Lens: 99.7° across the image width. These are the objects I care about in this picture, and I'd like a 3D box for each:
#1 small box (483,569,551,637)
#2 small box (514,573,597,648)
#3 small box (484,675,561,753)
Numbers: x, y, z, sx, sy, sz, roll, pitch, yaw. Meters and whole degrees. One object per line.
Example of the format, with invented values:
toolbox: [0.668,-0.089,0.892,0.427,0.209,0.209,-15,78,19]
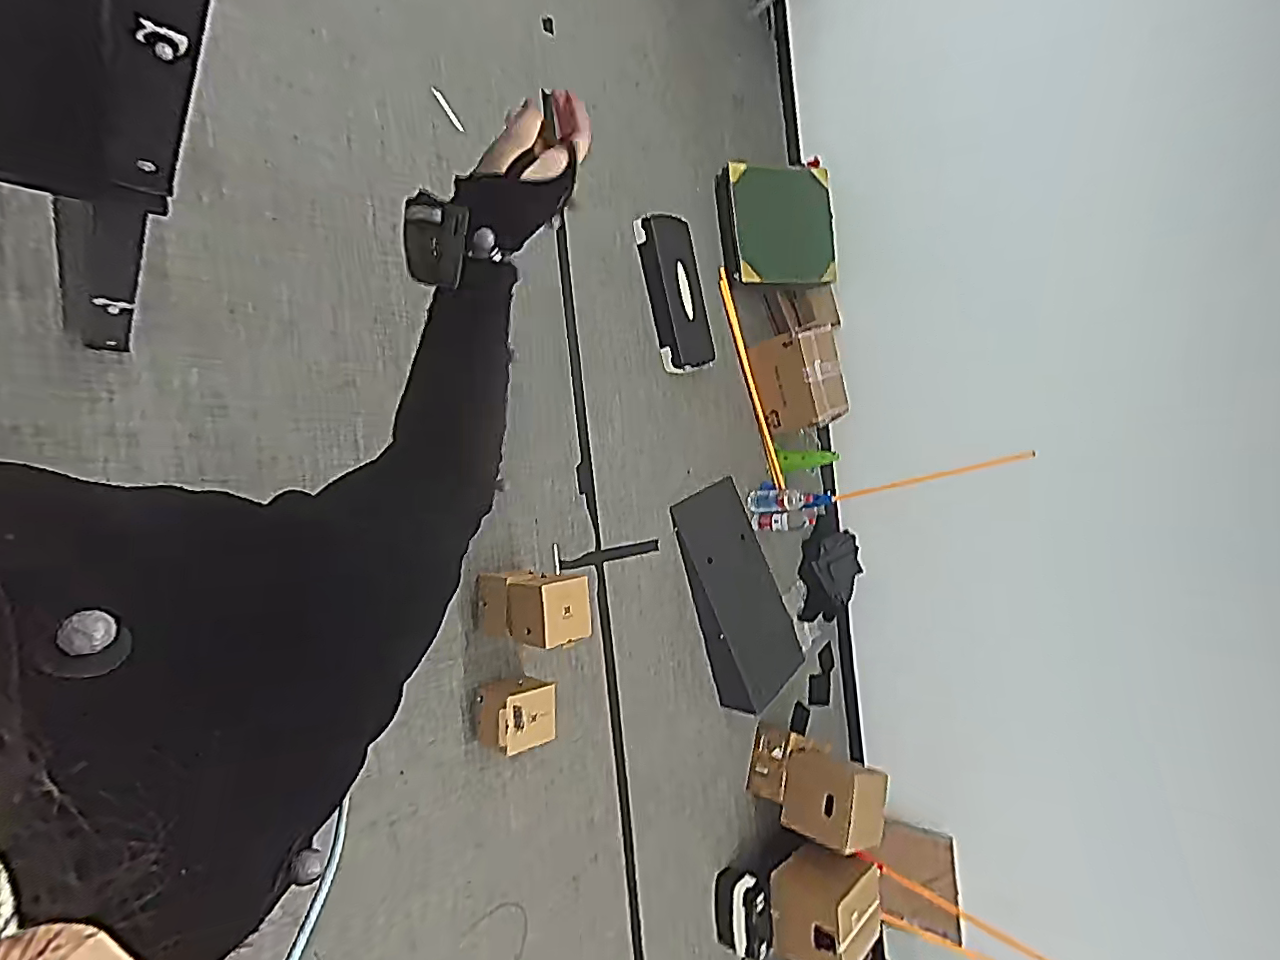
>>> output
small box: [-0.373,0.373,1.669,0.168,0.176,0.179,3,84,-46]
small box: [-0.246,0.369,1.564,0.168,0.176,0.179,-3,87,-46]
small box: [-0.360,0.705,1.647,0.179,0.176,0.168,3,84,-46]
